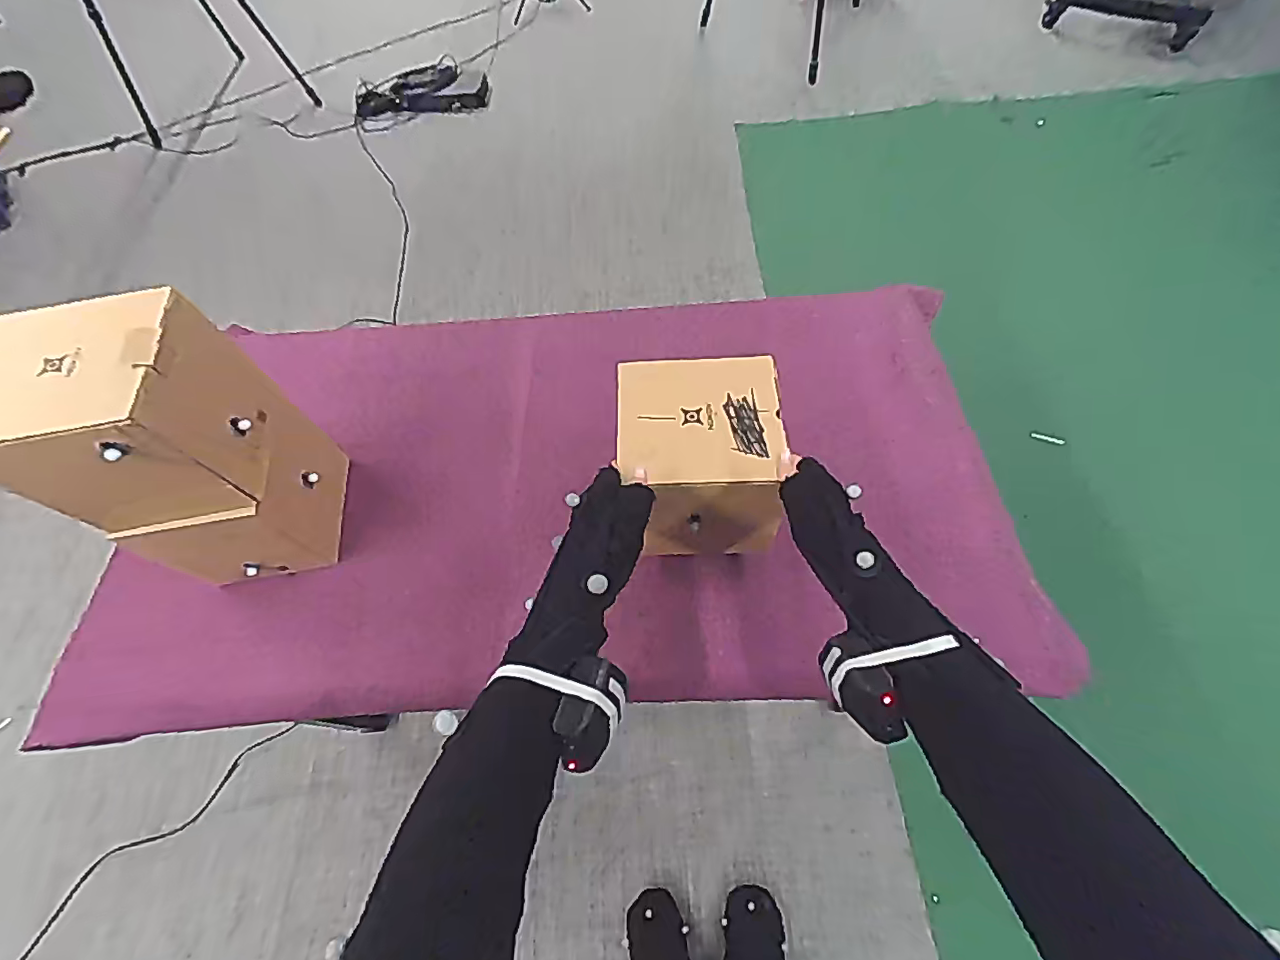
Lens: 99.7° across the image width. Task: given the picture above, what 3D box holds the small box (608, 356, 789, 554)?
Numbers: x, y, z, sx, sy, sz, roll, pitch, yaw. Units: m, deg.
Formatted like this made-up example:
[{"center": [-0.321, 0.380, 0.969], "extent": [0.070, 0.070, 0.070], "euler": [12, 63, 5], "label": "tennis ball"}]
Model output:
[{"center": [0.062, -0.023, 0.626], "extent": [0.179, 0.176, 0.168], "euler": [1, 56, 4], "label": "small box"}]

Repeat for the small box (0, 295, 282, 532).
[{"center": [-0.525, -0.060, 0.568], "extent": [0.179, 0.176, 0.168], "euler": [-11, 61, -2], "label": "small box"}]
